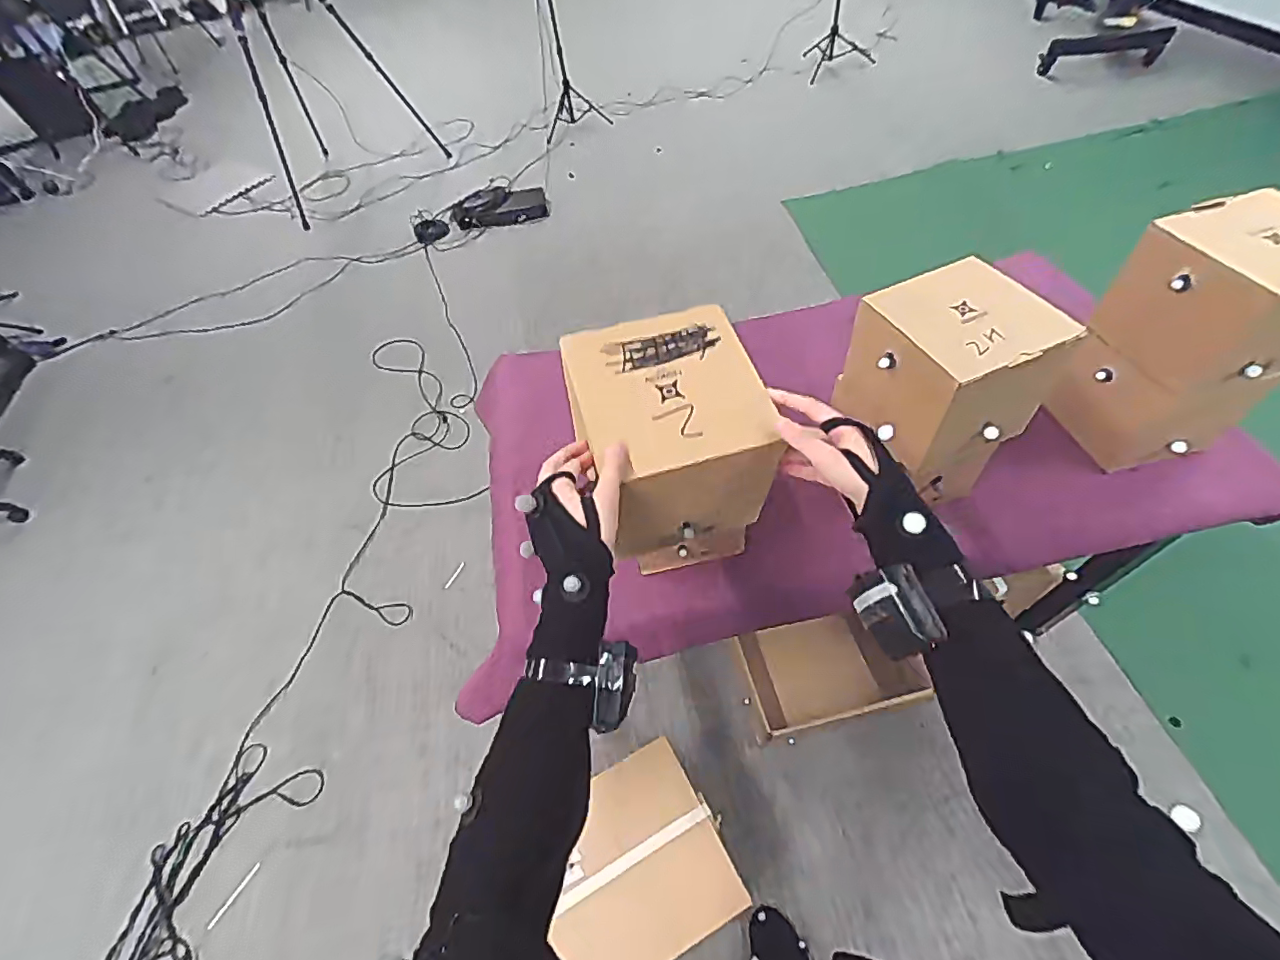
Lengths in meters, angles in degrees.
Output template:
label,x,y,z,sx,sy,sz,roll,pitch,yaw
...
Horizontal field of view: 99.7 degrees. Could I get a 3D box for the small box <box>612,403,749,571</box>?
label,x,y,z,sx,sy,sz,roll,pitch,yaw
small box,0.058,0.014,0.825,0.168,0.176,0.179,-12,55,-1

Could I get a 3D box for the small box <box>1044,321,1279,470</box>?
label,x,y,z,sx,sy,sz,roll,pitch,yaw
small box,0.780,-0.143,0.832,0.168,0.176,0.179,-14,53,-1

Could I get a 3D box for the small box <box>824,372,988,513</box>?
label,x,y,z,sx,sy,sz,roll,pitch,yaw
small box,0.406,-0.068,0.834,0.168,0.176,0.179,-16,53,-4

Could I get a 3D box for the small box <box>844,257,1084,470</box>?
label,x,y,z,sx,sy,sz,roll,pitch,yaw
small box,0.385,-0.145,0.687,0.168,0.176,0.179,-22,54,-7

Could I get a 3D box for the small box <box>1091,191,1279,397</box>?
label,x,y,z,sx,sy,sz,roll,pitch,yaw
small box,0.755,-0.239,0.704,0.168,0.176,0.179,-16,53,-2
